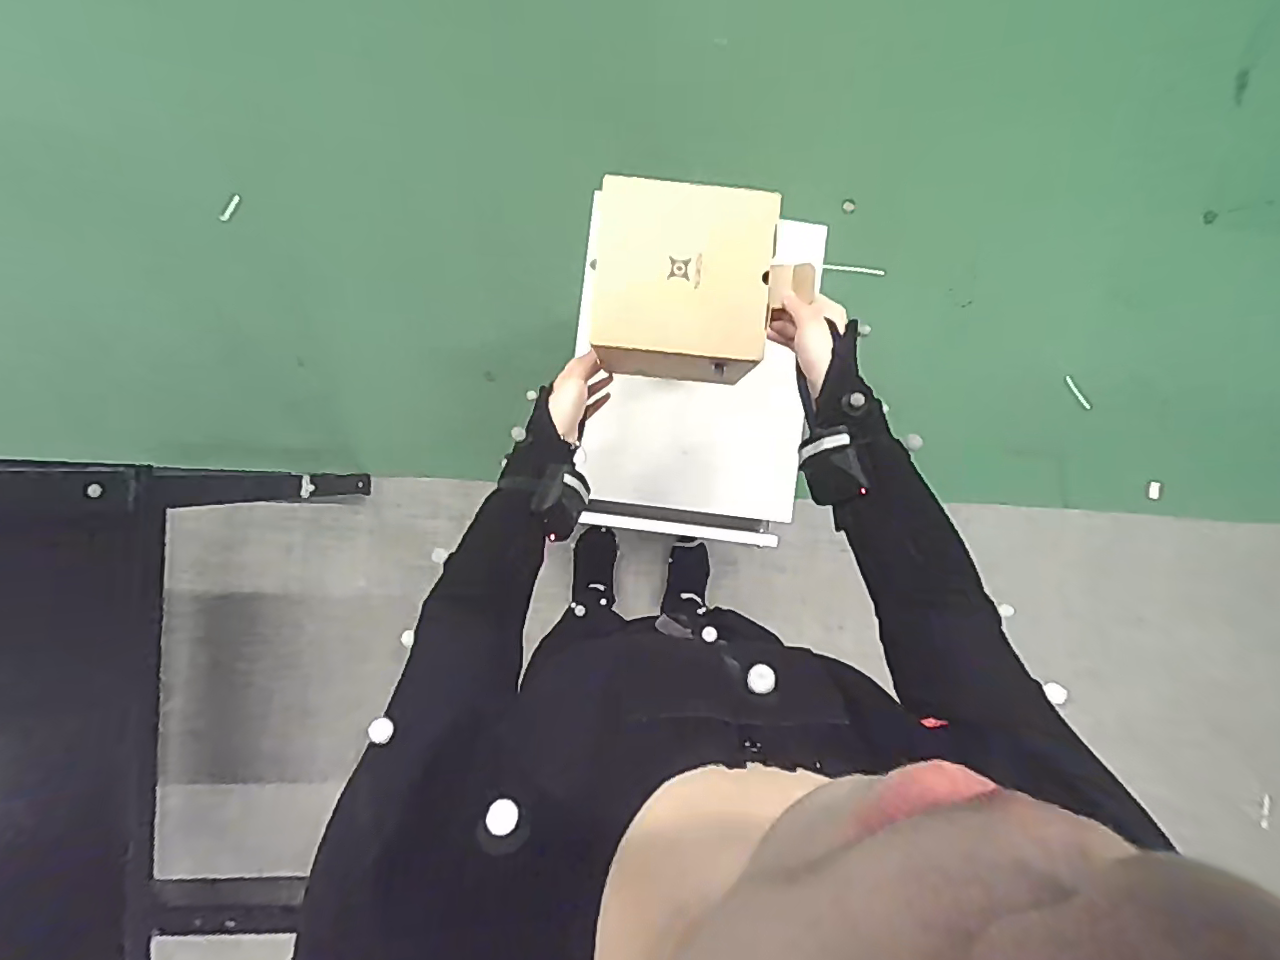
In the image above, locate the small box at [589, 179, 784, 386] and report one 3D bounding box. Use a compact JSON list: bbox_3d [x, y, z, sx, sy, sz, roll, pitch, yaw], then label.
[{"bbox_3d":[0.045,-0.201,0.595,0.179,0.176,0.168,5,92,0],"label":"small box"}]
